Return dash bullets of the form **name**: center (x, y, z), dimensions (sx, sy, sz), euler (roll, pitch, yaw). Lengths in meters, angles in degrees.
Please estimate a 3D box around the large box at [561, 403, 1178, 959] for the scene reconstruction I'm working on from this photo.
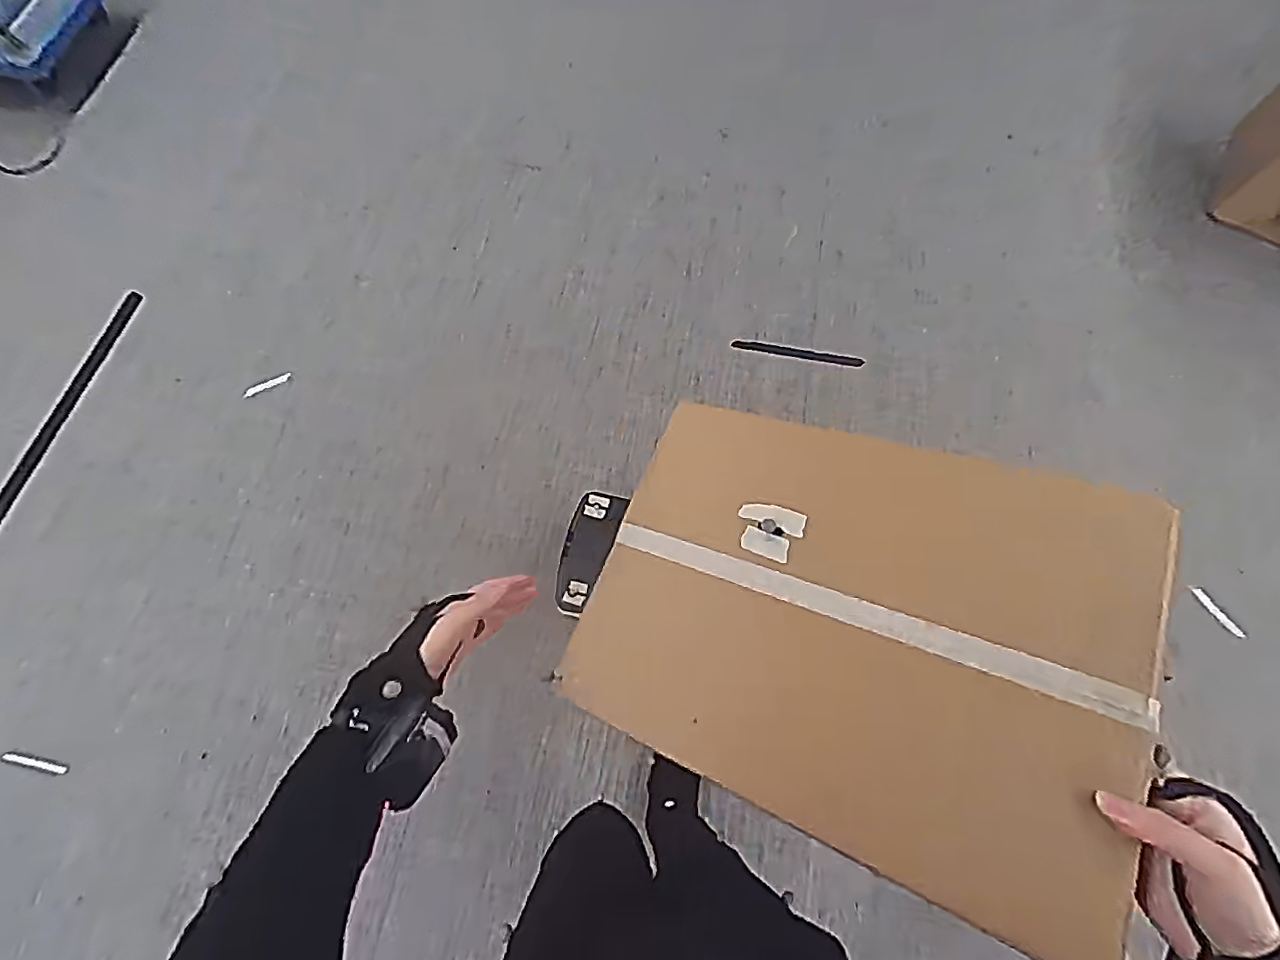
- **large box**: center (0.208, 0.159, 0.555), dimensions (0.408, 0.320, 0.320), euler (16, 71, 29)

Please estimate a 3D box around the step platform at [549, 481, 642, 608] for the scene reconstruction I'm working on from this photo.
- **step platform**: center (0.136, 0.233, 1.272), dimensions (0.684, 0.204, 0.286), euler (17, 71, 6)
